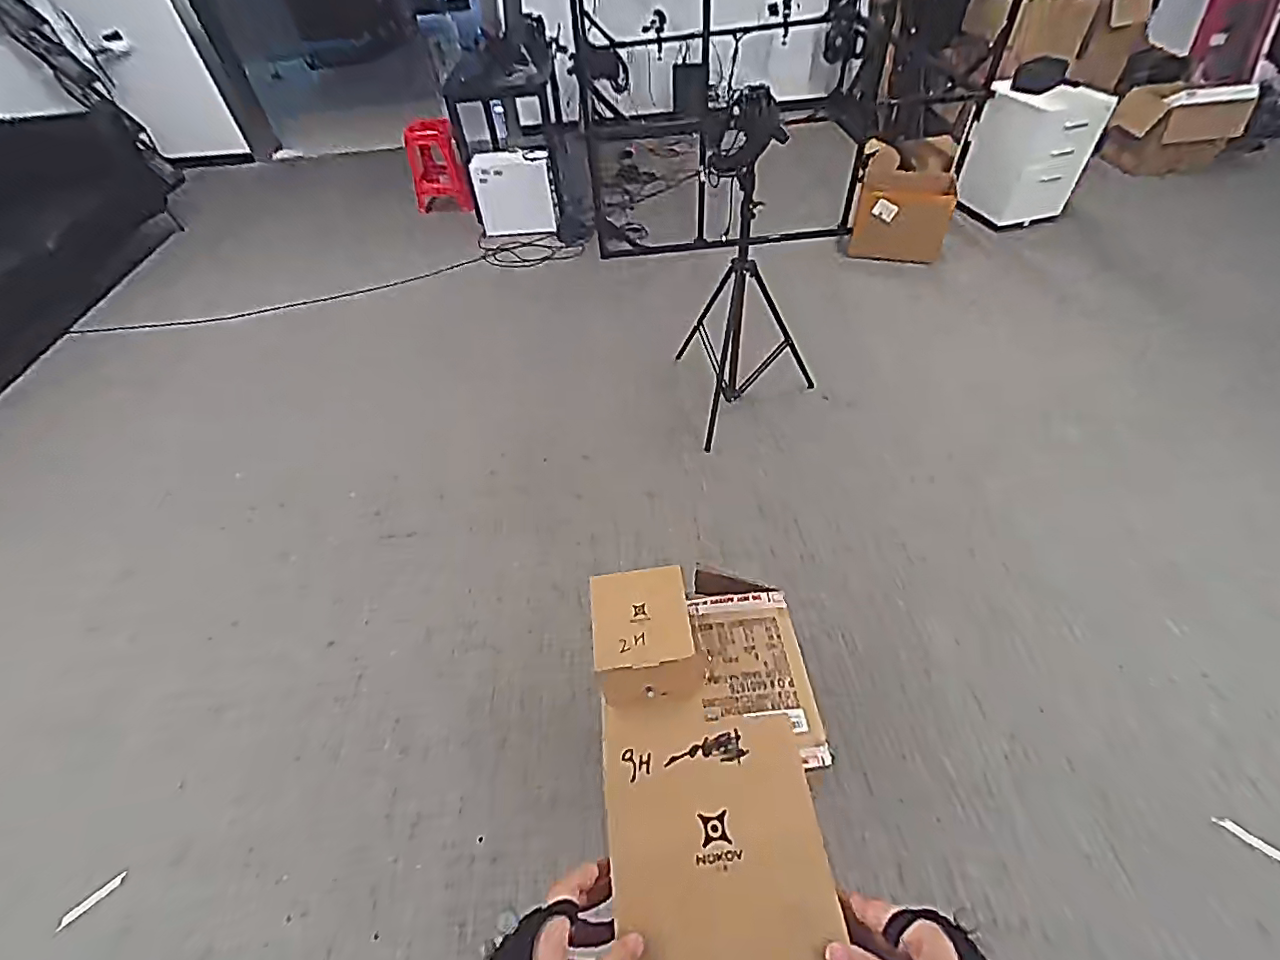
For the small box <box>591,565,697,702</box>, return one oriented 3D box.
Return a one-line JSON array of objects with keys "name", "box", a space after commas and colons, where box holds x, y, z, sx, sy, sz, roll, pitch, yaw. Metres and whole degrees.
[{"name": "small box", "box": [0.007, 0.279, 0.978, 0.168, 0.176, 0.179, -9, 51, 0]}]
